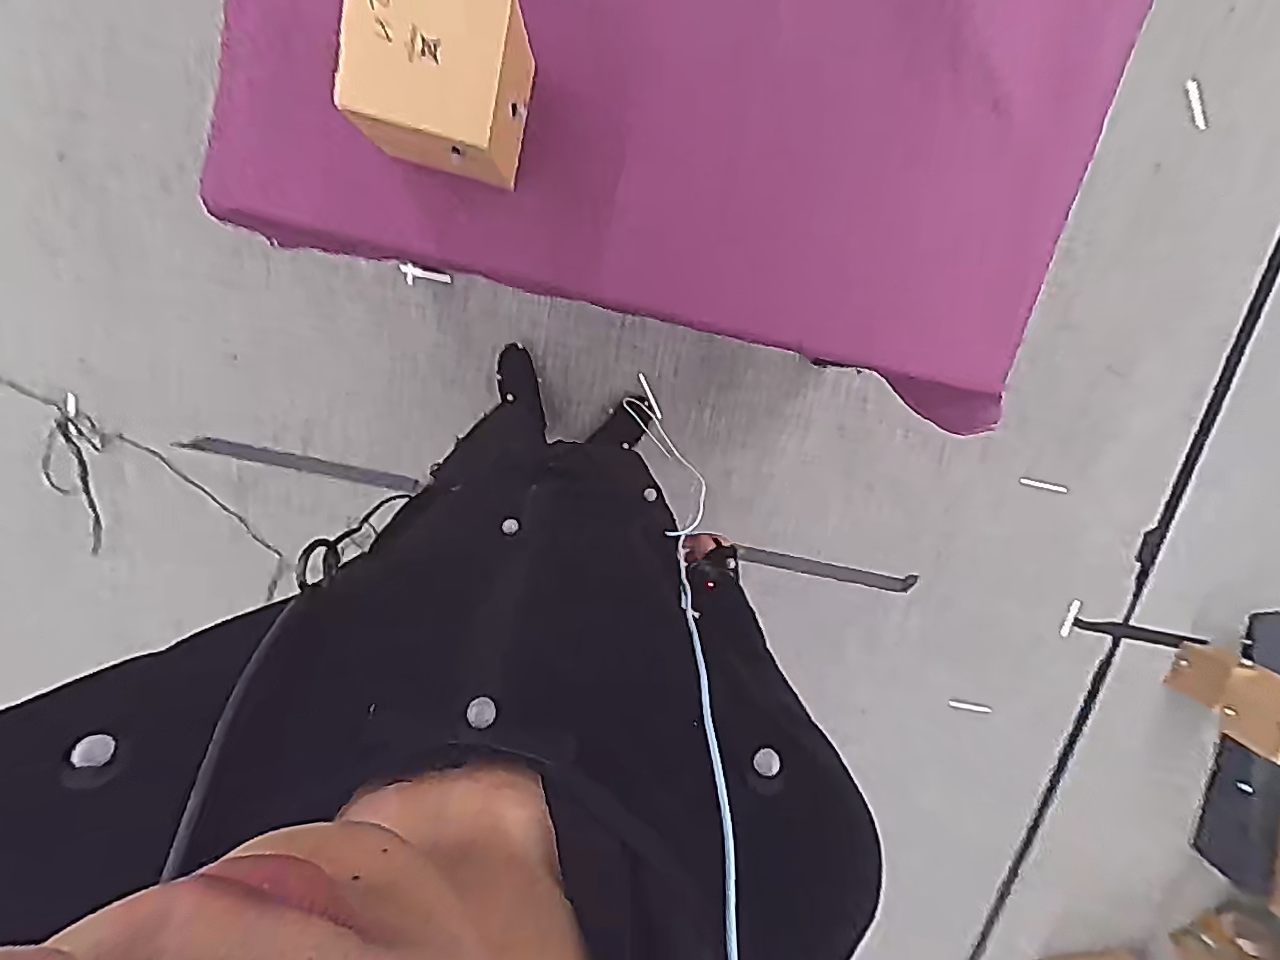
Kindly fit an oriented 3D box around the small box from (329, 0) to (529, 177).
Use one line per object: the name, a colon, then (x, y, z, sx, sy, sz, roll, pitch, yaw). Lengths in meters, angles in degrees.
small box: (-0.244, -0.498, 0.663, 0.179, 0.176, 0.168, 13, 102, -6)
